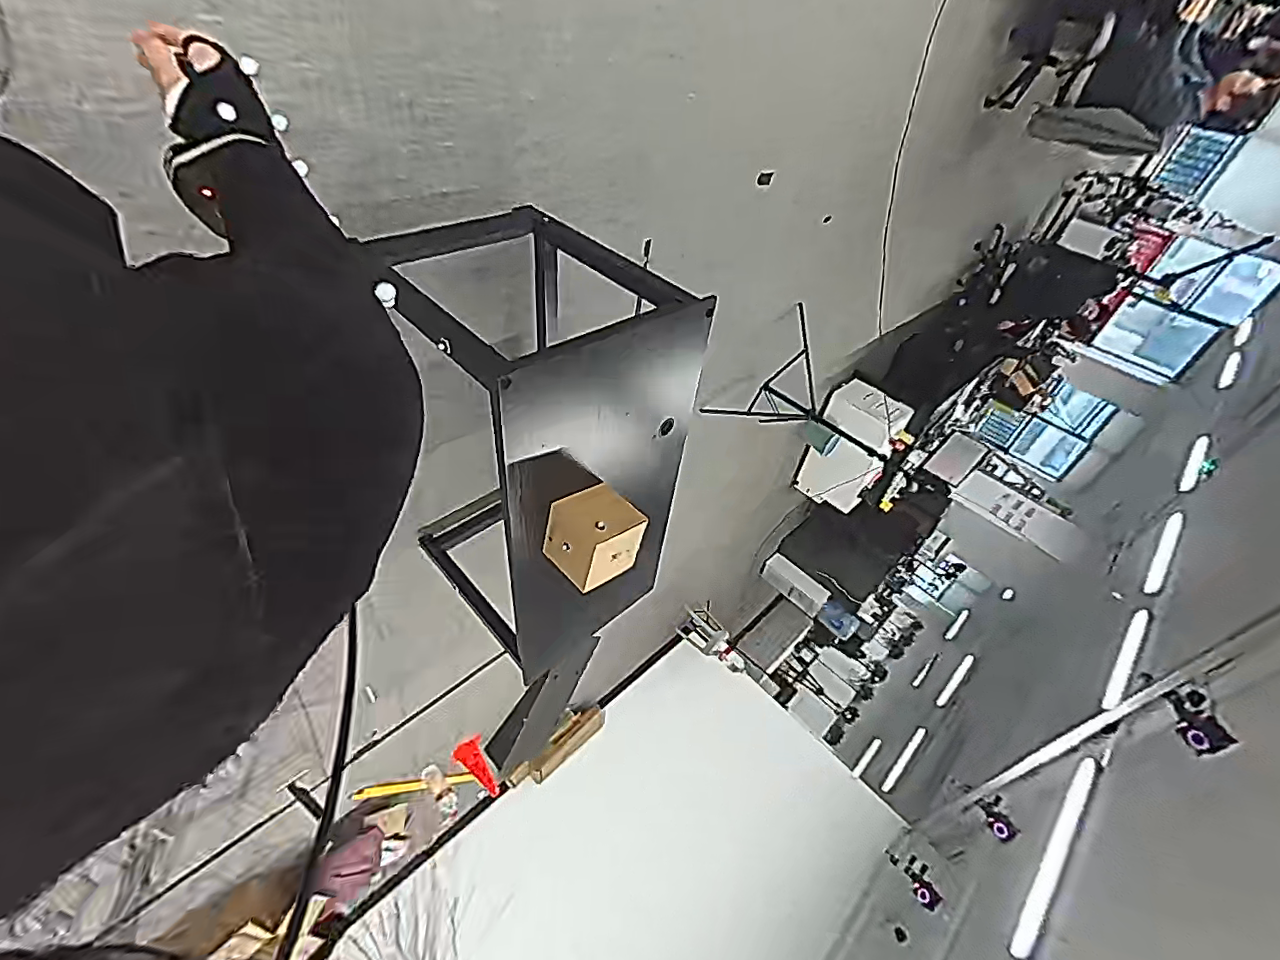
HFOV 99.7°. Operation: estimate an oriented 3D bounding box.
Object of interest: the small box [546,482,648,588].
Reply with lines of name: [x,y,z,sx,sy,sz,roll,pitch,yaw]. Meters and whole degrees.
small box: [-0.113,0.130,1.350,0.179,0.176,0.168,-24,142,-43]
